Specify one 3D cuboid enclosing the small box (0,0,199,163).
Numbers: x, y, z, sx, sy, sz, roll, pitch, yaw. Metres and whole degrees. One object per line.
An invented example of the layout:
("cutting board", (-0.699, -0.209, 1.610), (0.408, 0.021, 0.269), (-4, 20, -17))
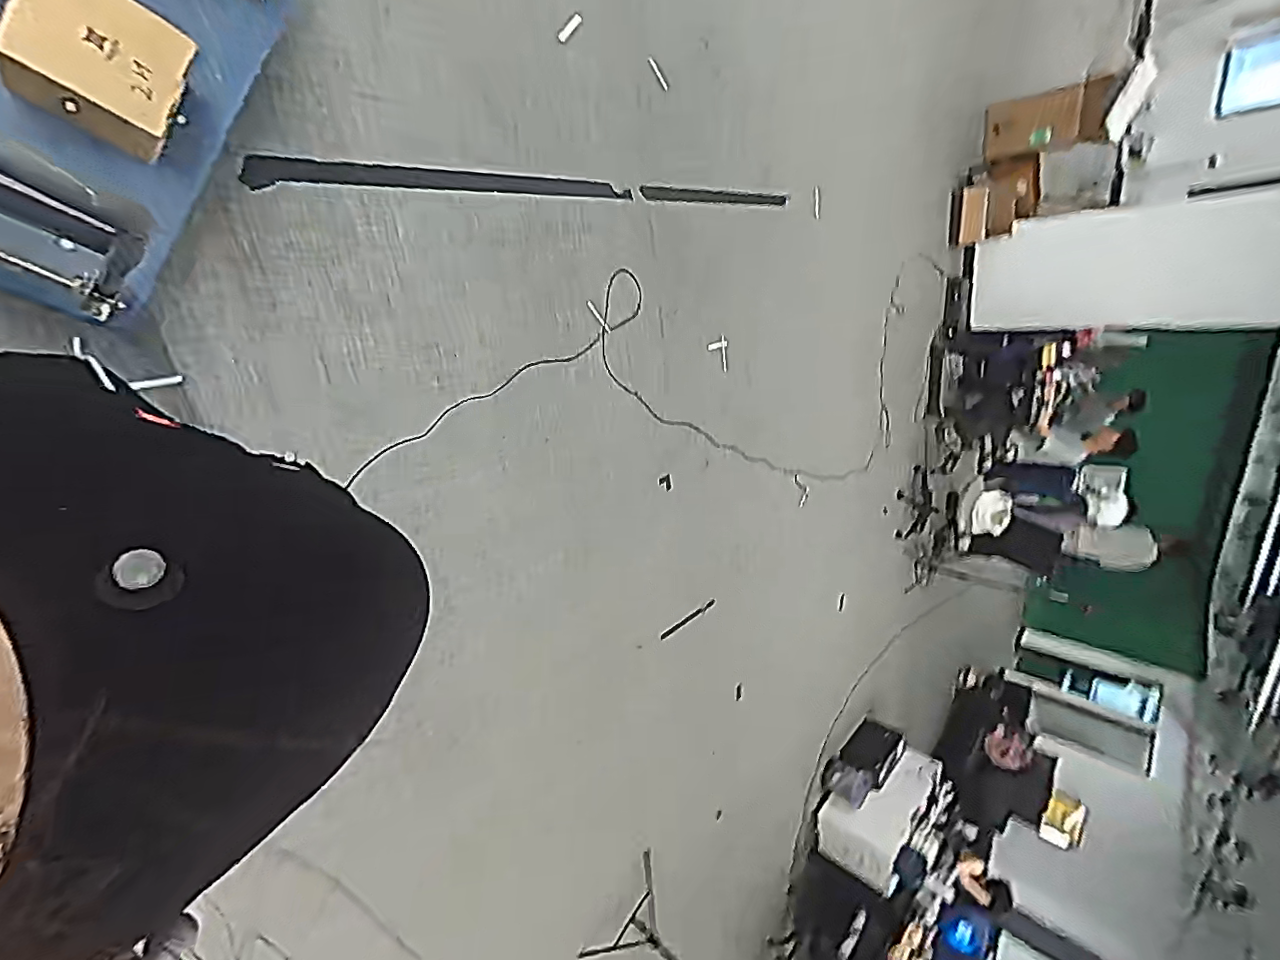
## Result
("small box", (-0.821, -0.626, 0.829), (0.179, 0.176, 0.168), (21, 83, -45))
